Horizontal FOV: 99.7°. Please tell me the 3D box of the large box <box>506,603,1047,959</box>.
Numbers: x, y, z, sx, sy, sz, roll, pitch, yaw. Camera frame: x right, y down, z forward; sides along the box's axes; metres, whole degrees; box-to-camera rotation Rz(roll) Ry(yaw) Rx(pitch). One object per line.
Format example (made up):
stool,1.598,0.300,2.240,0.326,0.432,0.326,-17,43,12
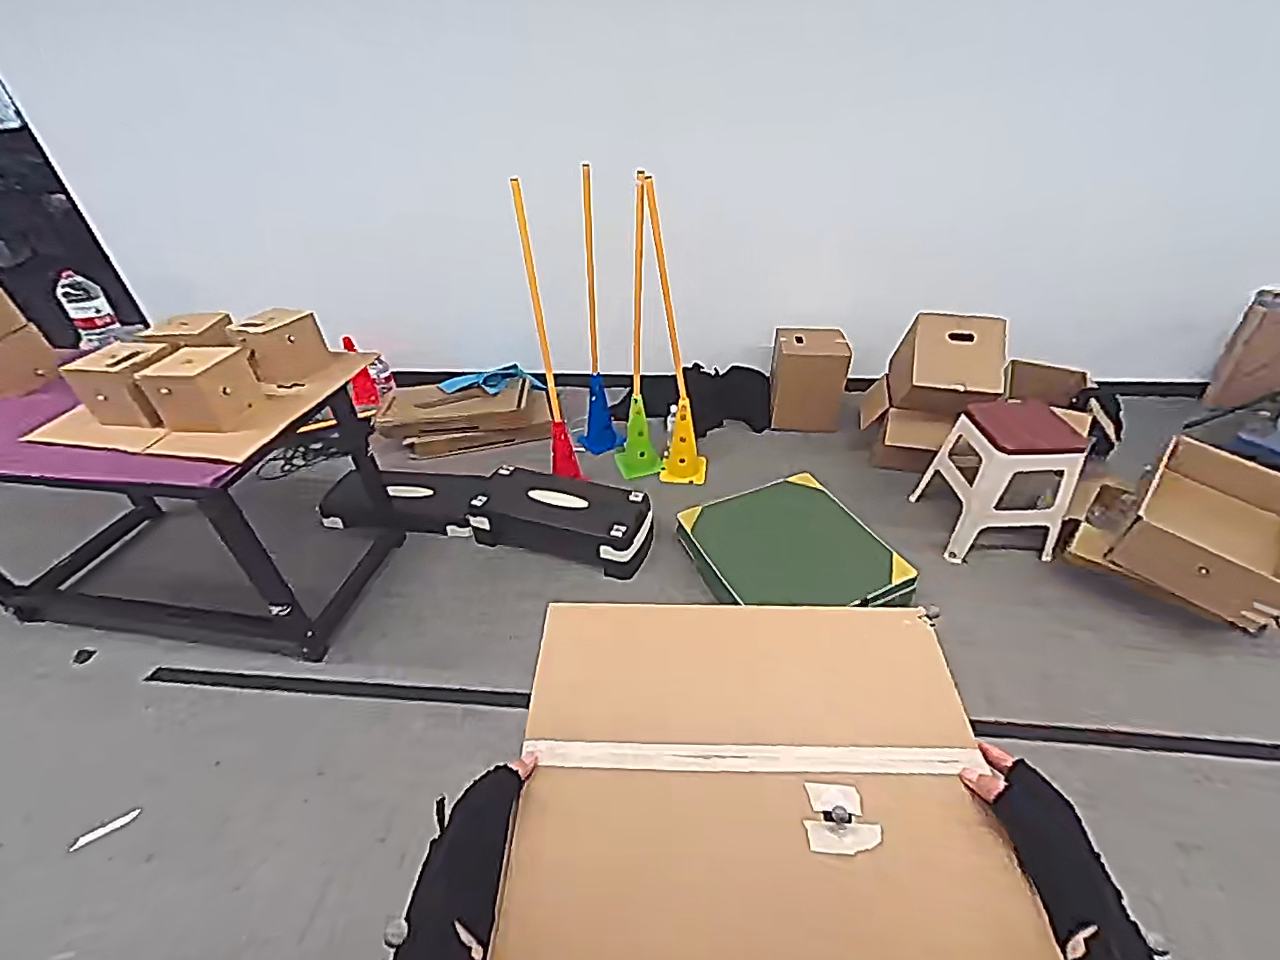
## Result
large box,0.103,0.353,0.601,0.408,0.320,0.320,1,46,3
